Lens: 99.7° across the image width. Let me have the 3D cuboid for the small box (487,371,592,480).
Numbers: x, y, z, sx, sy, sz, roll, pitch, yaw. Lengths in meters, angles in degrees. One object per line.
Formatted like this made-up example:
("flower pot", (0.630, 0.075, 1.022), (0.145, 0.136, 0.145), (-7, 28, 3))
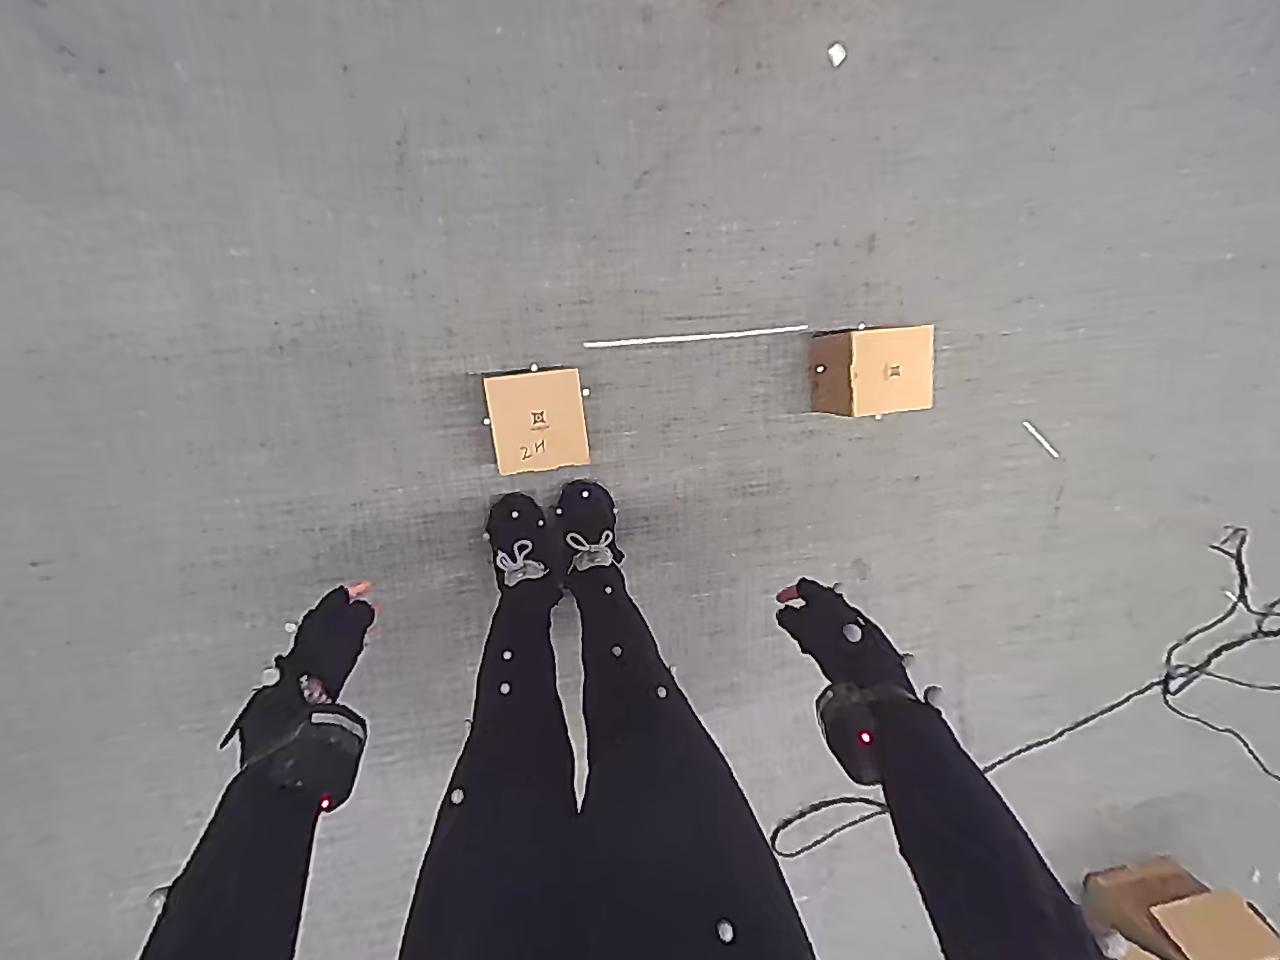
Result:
("small box", (-0.188, -0.109, 1.020), (0.168, 0.176, 0.179), (-8, 103, -8))

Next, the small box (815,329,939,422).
("small box", (0.482, -0.219, 1.117), (0.179, 0.176, 0.168), (-8, 103, -8))
